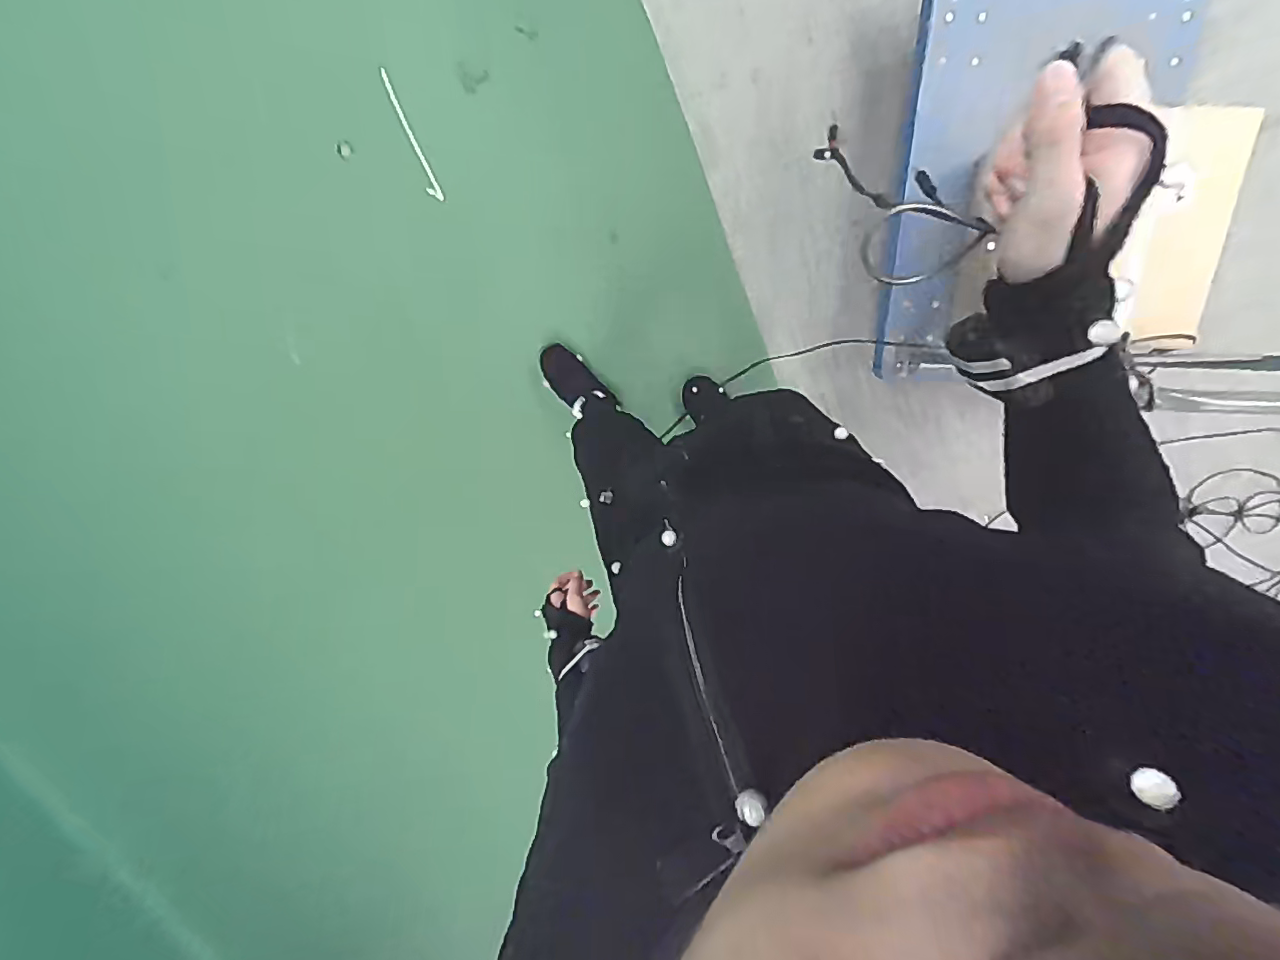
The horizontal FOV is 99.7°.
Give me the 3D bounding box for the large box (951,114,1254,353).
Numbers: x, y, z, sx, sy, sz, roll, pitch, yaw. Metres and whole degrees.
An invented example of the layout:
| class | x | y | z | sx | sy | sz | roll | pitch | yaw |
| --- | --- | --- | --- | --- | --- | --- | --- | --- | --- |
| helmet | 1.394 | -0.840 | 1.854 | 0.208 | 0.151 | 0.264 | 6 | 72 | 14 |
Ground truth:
| class | x | y | z | sx | sy | sz | roll | pitch | yaw |
| --- | --- | --- | --- | --- | --- | --- | --- | --- | --- |
| large box | 0.903 | -0.475 | 1.124 | 0.320 | 0.320 | 0.408 | 1 | 106 | 1 |
